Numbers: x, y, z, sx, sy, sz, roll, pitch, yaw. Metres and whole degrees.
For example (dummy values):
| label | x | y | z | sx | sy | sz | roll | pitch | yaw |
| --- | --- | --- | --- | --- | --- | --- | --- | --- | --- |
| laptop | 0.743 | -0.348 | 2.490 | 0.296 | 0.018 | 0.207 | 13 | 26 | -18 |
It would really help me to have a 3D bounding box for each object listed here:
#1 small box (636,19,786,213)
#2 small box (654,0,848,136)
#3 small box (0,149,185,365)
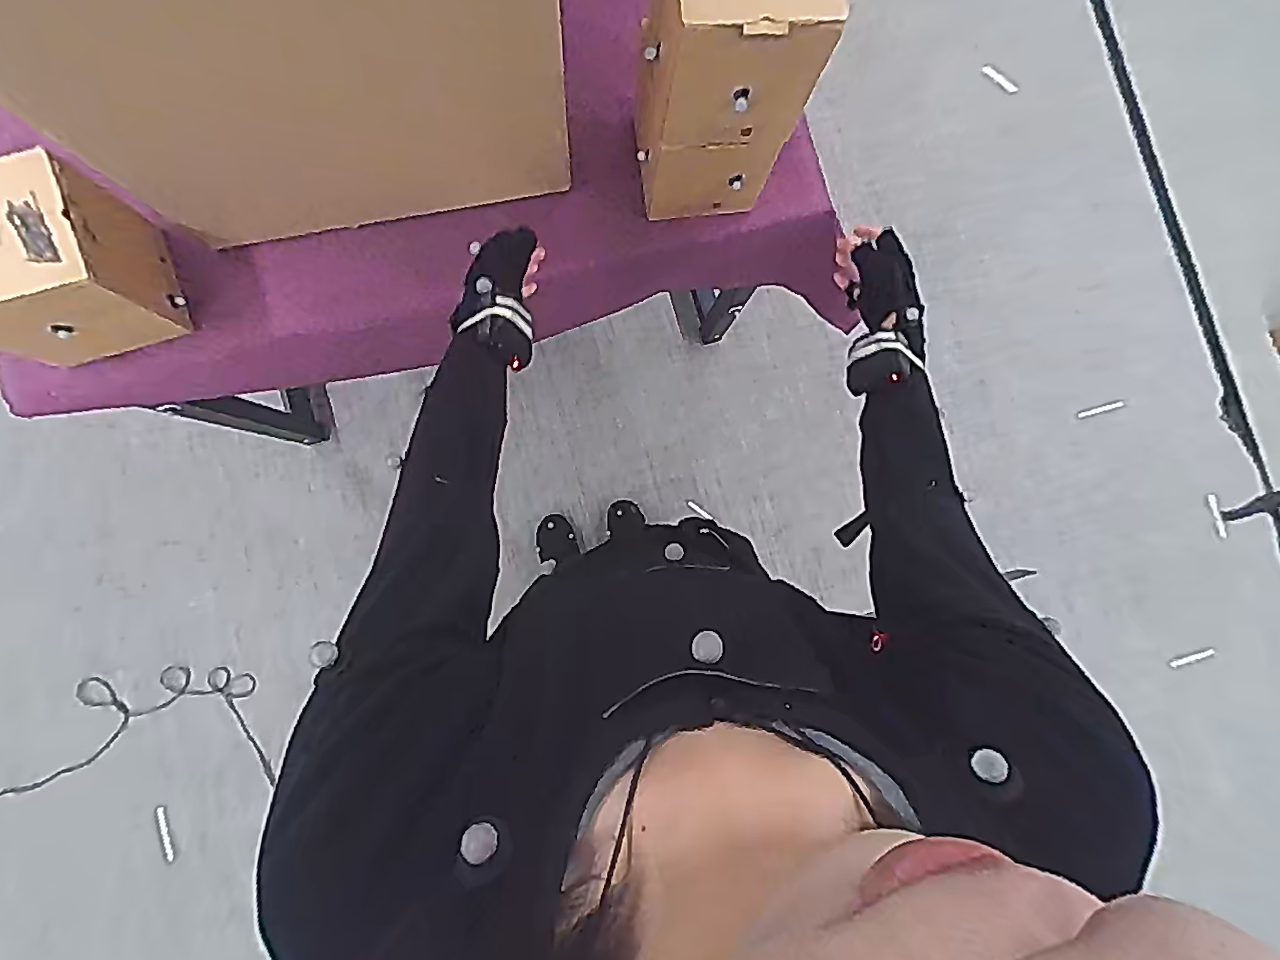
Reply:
| label | x | y | z | sx | sy | sz | roll | pitch | yaw |
| --- | --- | --- | --- | --- | --- | --- | --- | --- | --- |
| small box | 0.089 | -0.500 | 0.763 | 0.168 | 0.176 | 0.179 | -8 | 86 | -6 |
| small box | 0.110 | -0.516 | 0.601 | 0.168 | 0.176 | 0.179 | -4 | 87 | -6 |
| small box | -0.723 | -0.264 | 0.676 | 0.179 | 0.176 | 0.168 | -20 | 87 | -7 |
